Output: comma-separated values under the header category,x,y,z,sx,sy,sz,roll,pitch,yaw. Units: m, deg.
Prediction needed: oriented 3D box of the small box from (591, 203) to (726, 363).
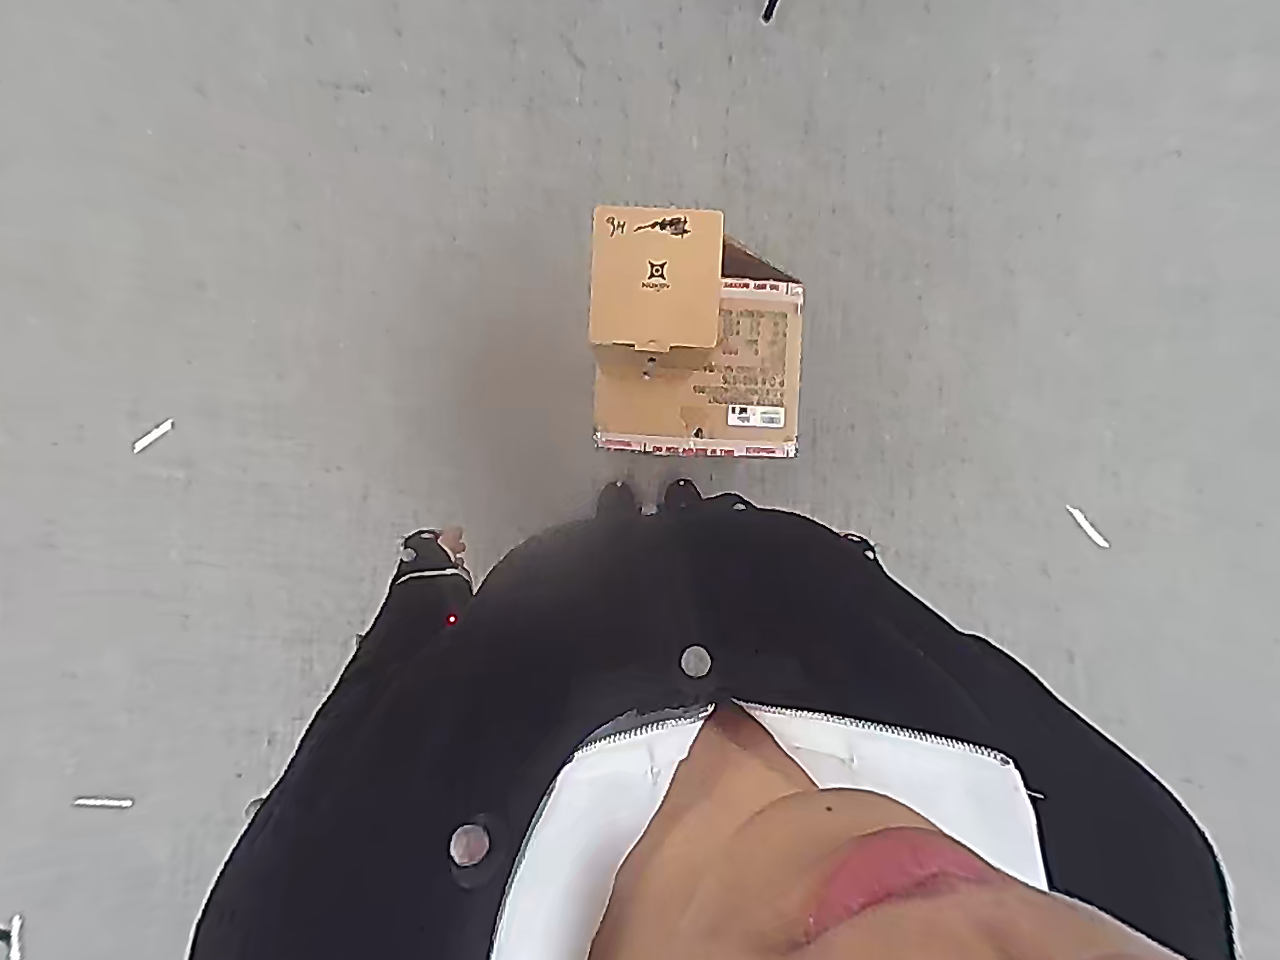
category,x,y,z,sx,sy,sz,roll,pitch,yaw
small box,0.025,-0.265,0.765,0.168,0.176,0.179,3,94,1

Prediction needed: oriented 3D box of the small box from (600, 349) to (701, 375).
category,x,y,z,sx,sy,sz,roll,pitch,yaw
small box,0.021,-0.282,0.929,0.168,0.176,0.179,1,93,1
